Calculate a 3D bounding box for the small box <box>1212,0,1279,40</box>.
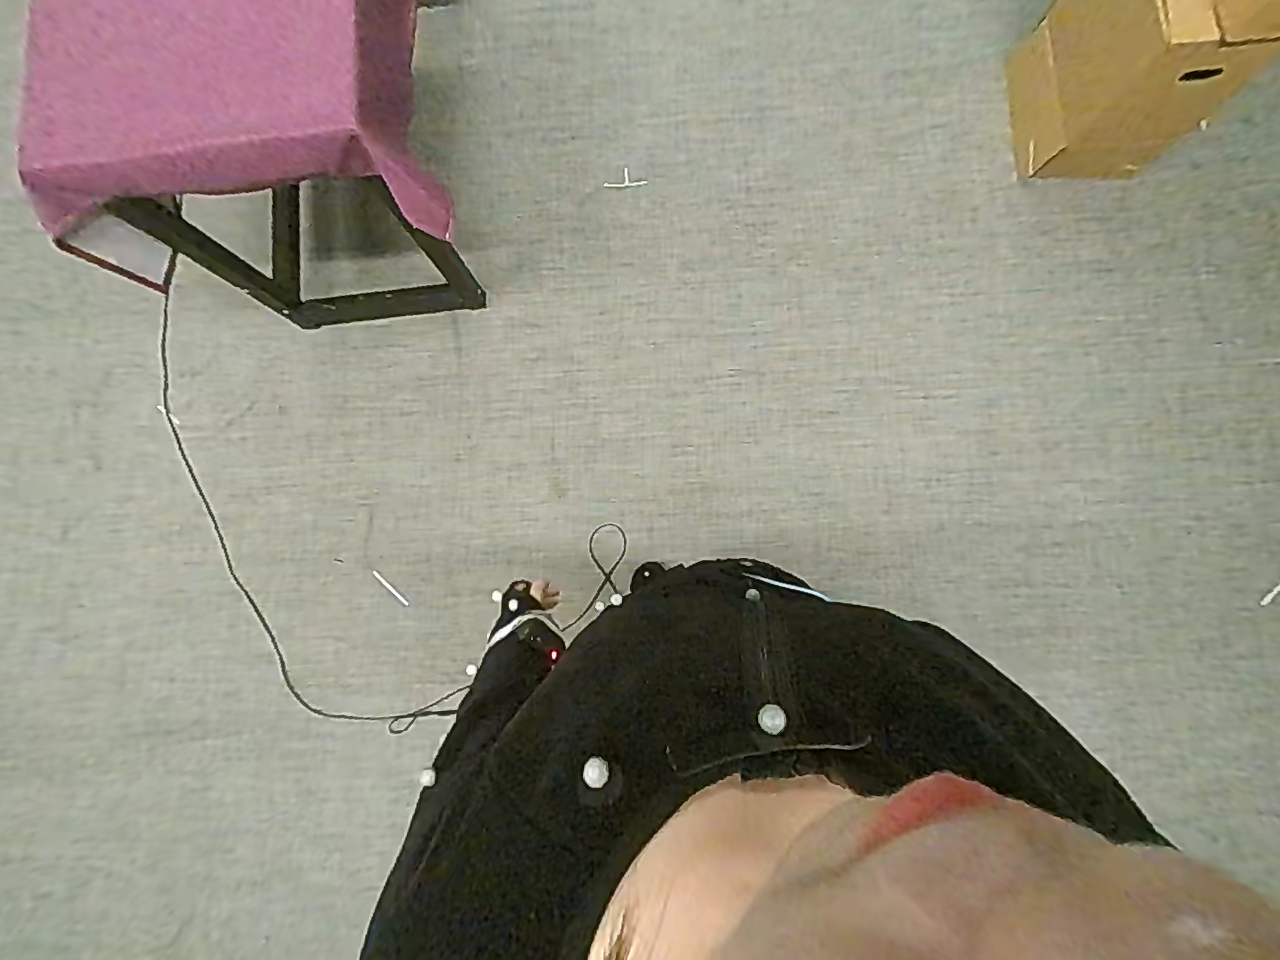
[{"bbox_3d":[1.323,-1.034,1.092,0.168,0.176,0.179,-3,81,0],"label":"small box"}]
